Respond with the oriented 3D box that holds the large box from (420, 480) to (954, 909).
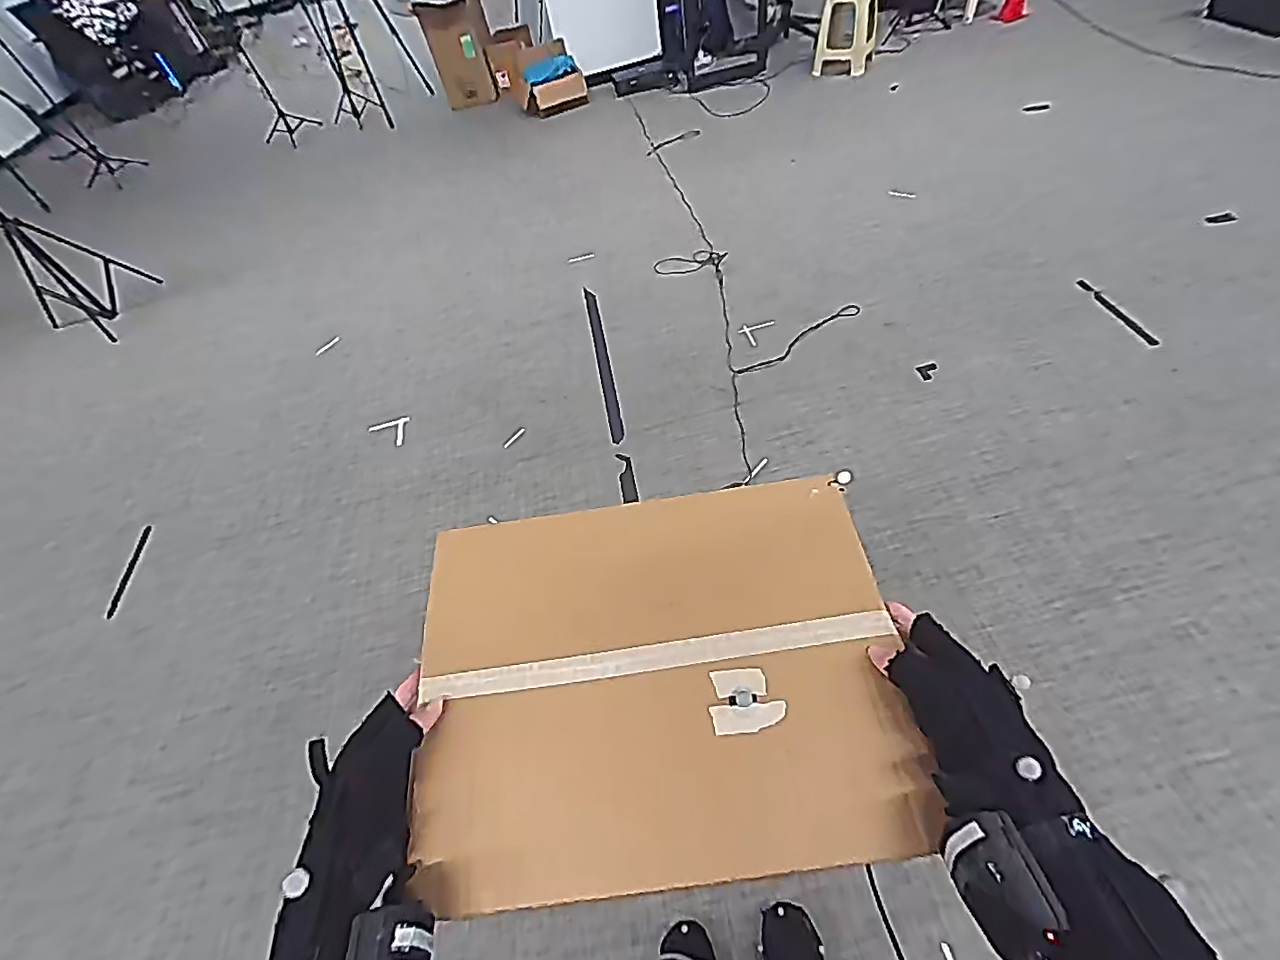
[{"bbox_3d":[0.027,0.237,0.596,0.408,0.320,0.320,-8,56,0],"label":"large box"}]
